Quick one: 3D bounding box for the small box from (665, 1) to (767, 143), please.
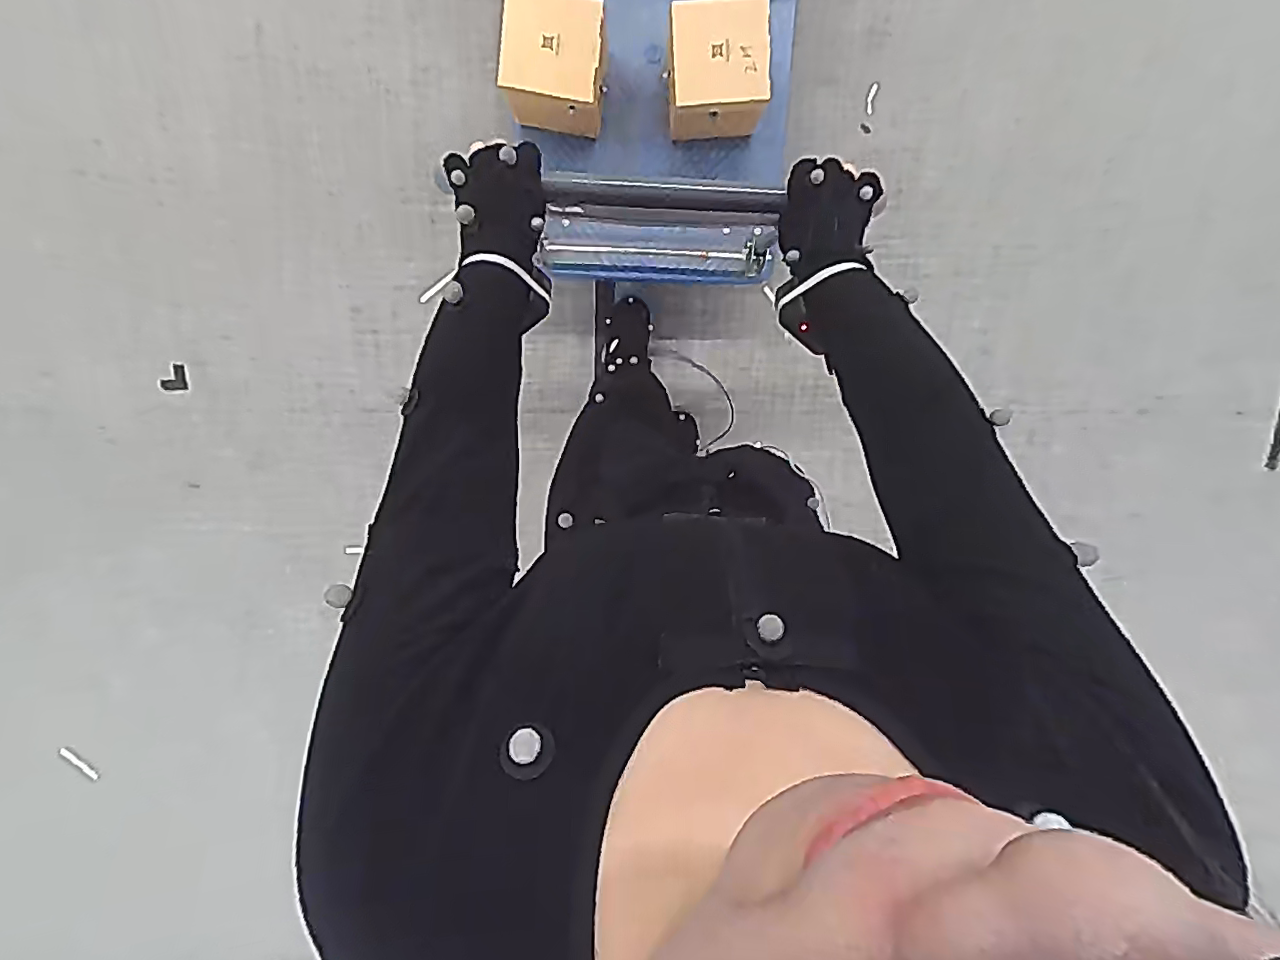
[{"bbox_3d":[0.139,-0.770,1.040,0.179,0.176,0.168,-4,104,0],"label":"small box"}]

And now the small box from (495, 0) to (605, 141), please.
[{"bbox_3d":[-0.165,-0.779,1.035,0.179,0.176,0.168,8,103,-4],"label":"small box"}]
